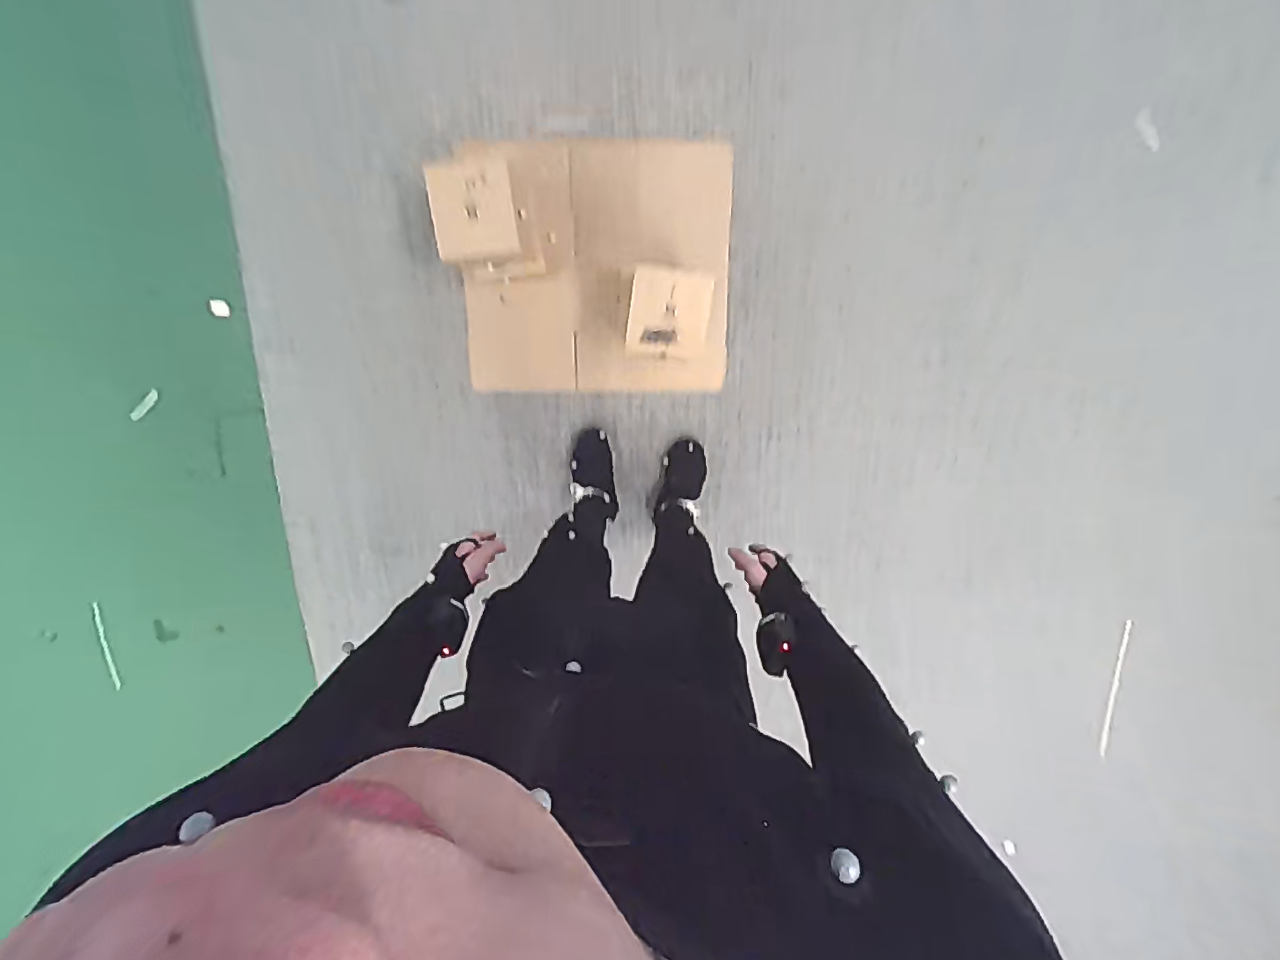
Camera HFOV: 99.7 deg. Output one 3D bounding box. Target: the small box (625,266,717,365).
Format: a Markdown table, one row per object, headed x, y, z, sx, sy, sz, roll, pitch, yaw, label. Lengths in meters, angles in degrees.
| x | y | z | sx | sy | sz | roll | pitch | yaw | label |
| --- | --- | --- | --- | --- | --- | --- | --- | --- | --- |
| 0.065 | -0.352 | 1.183 | 0.168 | 0.176 | 0.179 | 9 | 102 | -1 | small box |

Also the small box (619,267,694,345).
| x | y | z | sx | sy | sz | roll | pitch | yaw | label |
| --- | --- | --- | --- | --- | --- | --- | --- | --- | --- |
| 0.041 | -0.418 | 1.336 | 0.168 | 0.176 | 0.179 | 5 | 104 | 1 | small box |

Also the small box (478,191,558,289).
| x | y | z | sx | sy | sz | roll | pitch | yaw | label |
| --- | --- | --- | --- | --- | --- | --- | --- | --- | --- |
| -0.301 | -0.573 | 1.309 | 0.168 | 0.176 | 0.179 | -6 | 103 | 3 | small box |

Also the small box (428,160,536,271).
| x | y | z | sx | sy | sz | roll | pitch | yaw | label |
| --- | --- | --- | --- | --- | --- | --- | --- | --- | --- |
| -0.324 | -0.548 | 1.145 | 0.168 | 0.176 | 0.179 | -5 | 103 | 2 | small box |
